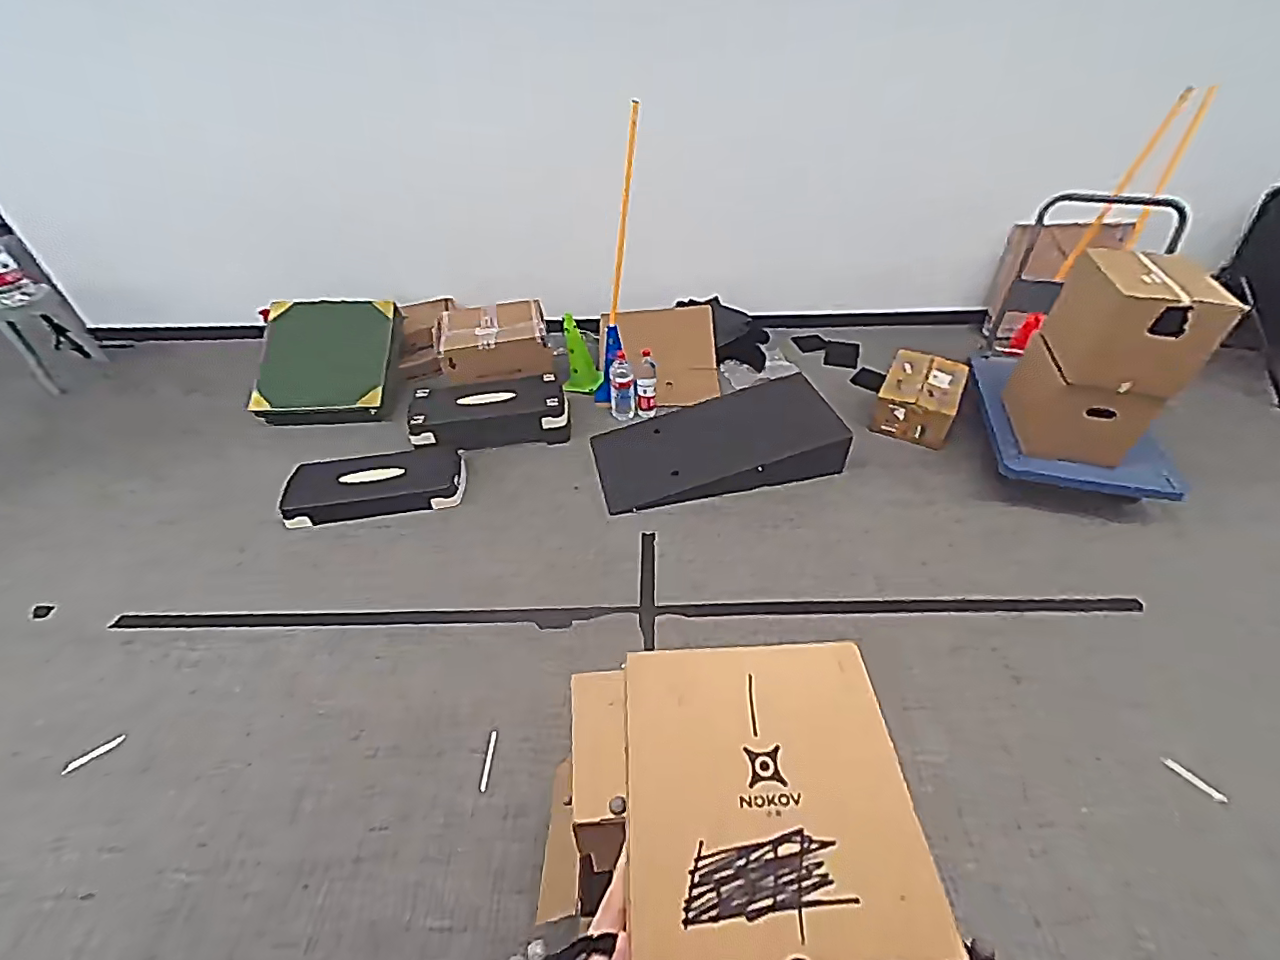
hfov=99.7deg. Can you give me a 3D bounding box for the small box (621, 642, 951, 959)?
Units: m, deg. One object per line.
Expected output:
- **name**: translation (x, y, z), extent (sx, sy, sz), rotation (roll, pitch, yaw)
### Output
- **small box**: translation (0.074, 0.235, 0.379), extent (0.168, 0.176, 0.179), rotation (-3, 45, 0)

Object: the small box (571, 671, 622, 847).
- **small box**: translation (-0.004, 0.373, 0.722), extent (0.168, 0.176, 0.179), rotation (-2, 46, -6)
